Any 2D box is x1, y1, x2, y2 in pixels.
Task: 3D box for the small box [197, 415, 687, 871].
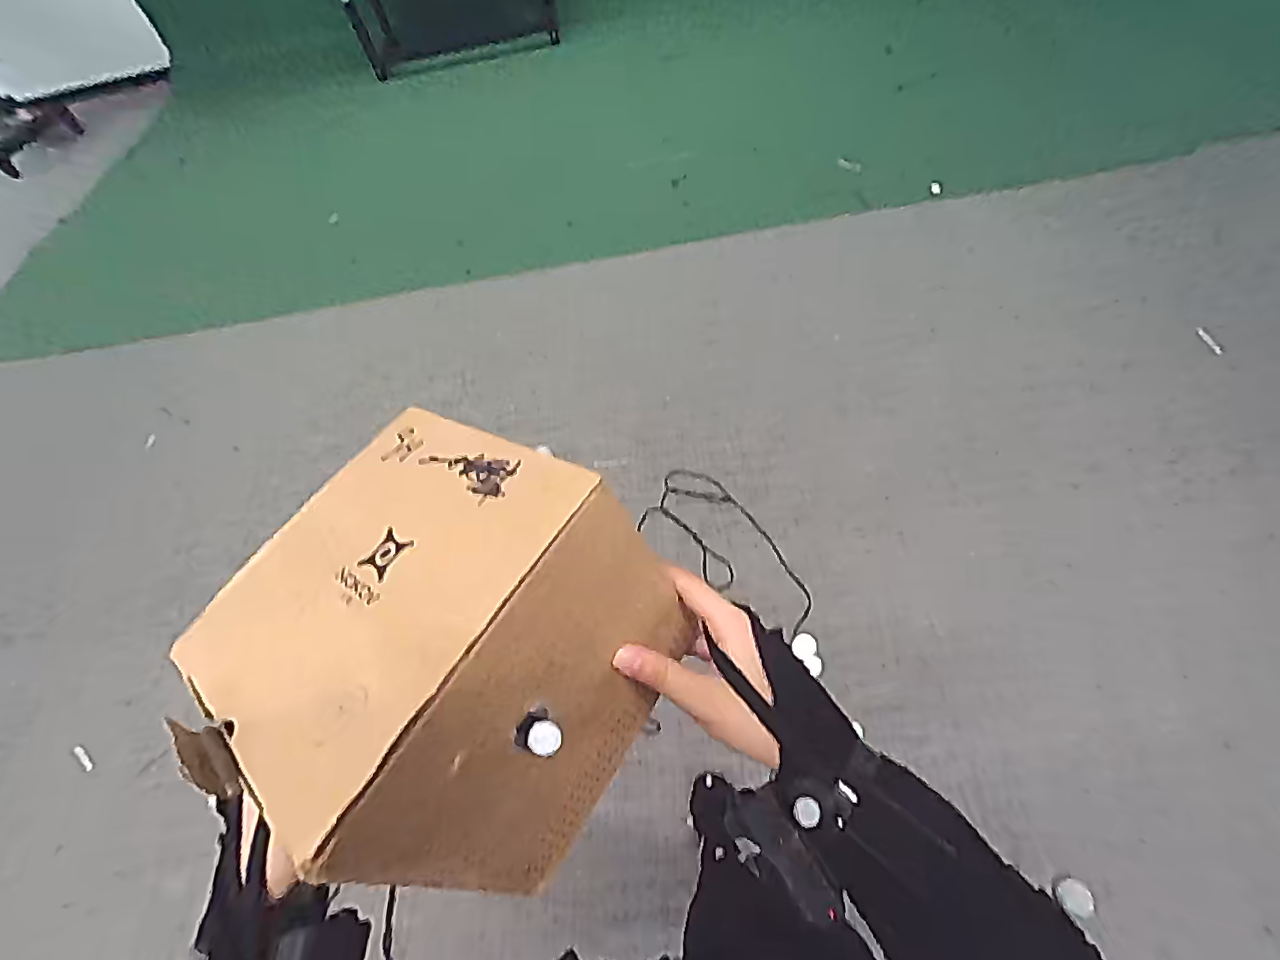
[{"bbox_3d":[-0.094,0.093,0.320,0.168,0.176,0.179,19,63,36],"label":"small box"}]
